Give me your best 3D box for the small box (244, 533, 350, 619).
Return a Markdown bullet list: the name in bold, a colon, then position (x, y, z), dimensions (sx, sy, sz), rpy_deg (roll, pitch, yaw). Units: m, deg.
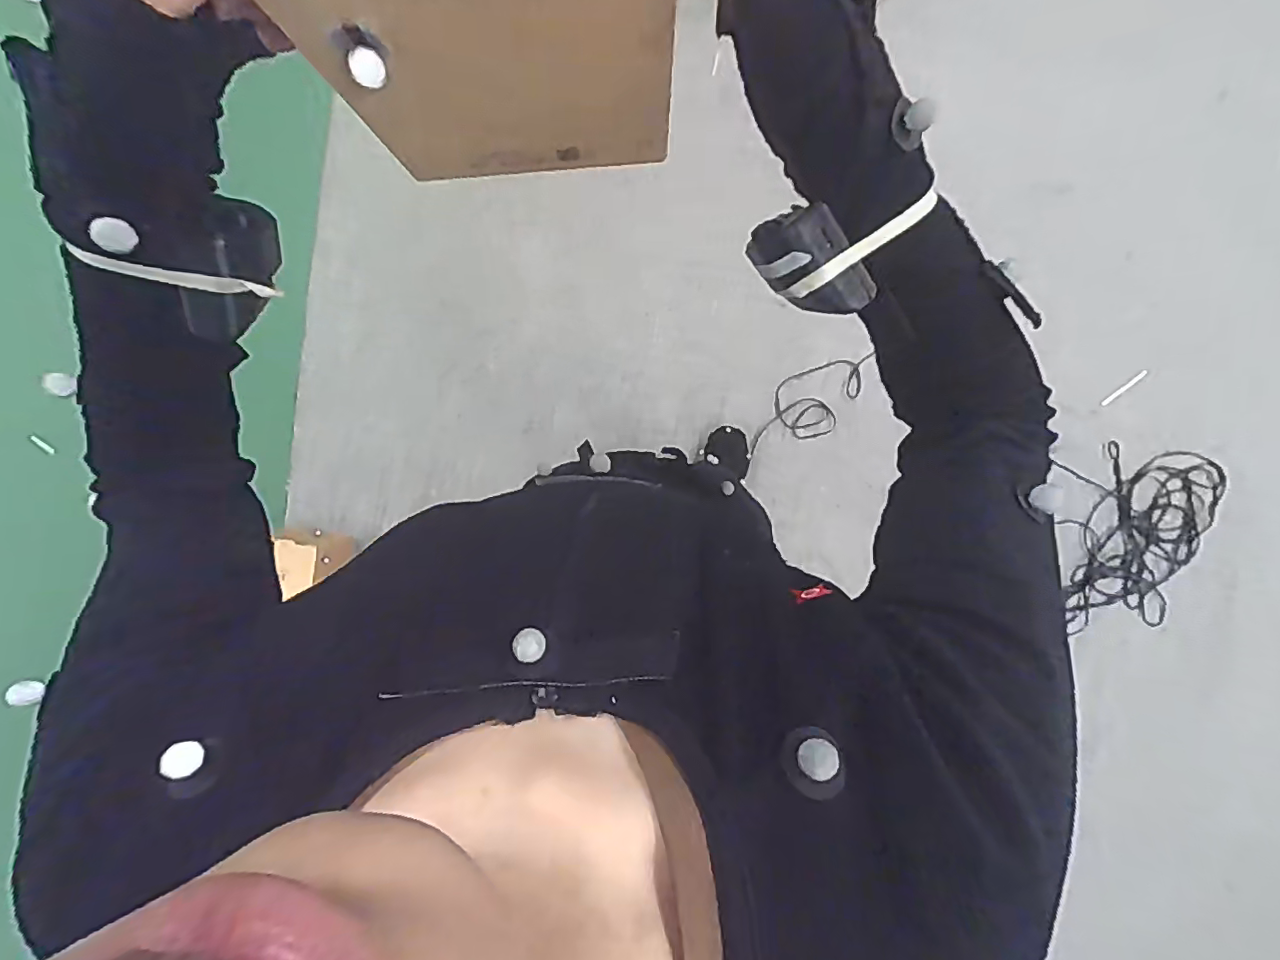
- **small box**: position (-0.888, 0.246, 1.414), dimensions (0.168, 0.176, 0.179), rpy_deg (8, 92, 0)
